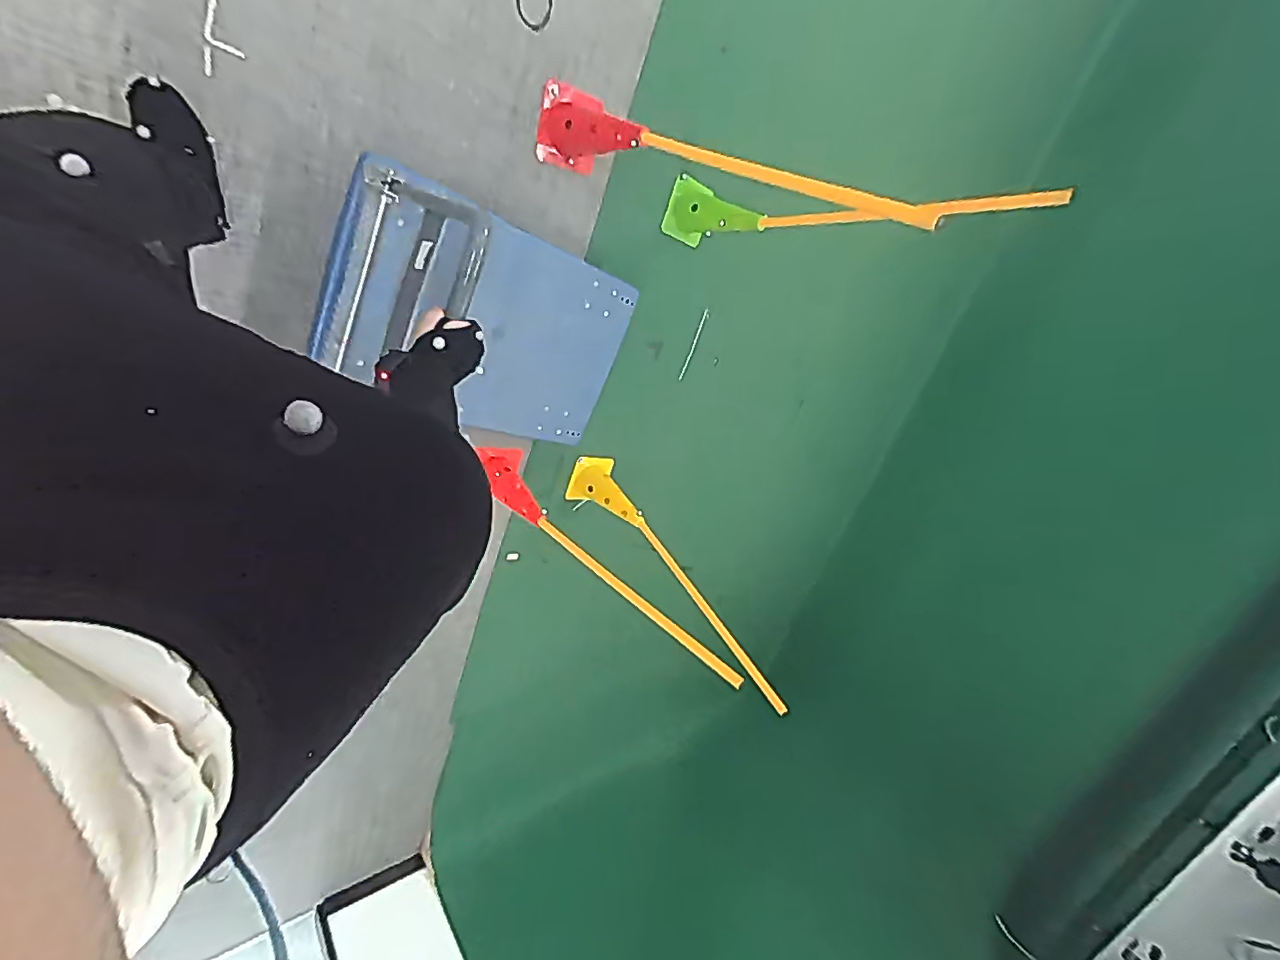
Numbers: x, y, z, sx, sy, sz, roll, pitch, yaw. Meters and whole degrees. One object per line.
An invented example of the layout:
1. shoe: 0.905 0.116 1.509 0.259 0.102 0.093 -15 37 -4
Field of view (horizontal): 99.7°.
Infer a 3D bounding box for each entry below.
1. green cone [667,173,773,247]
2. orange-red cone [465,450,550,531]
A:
1. green cone: 0.297 -0.891 1.839 0.202 0.368 0.200 1 116 -45
2. orange-red cone: -0.414 0.064 1.847 0.199 0.360 0.198 0 118 -46
